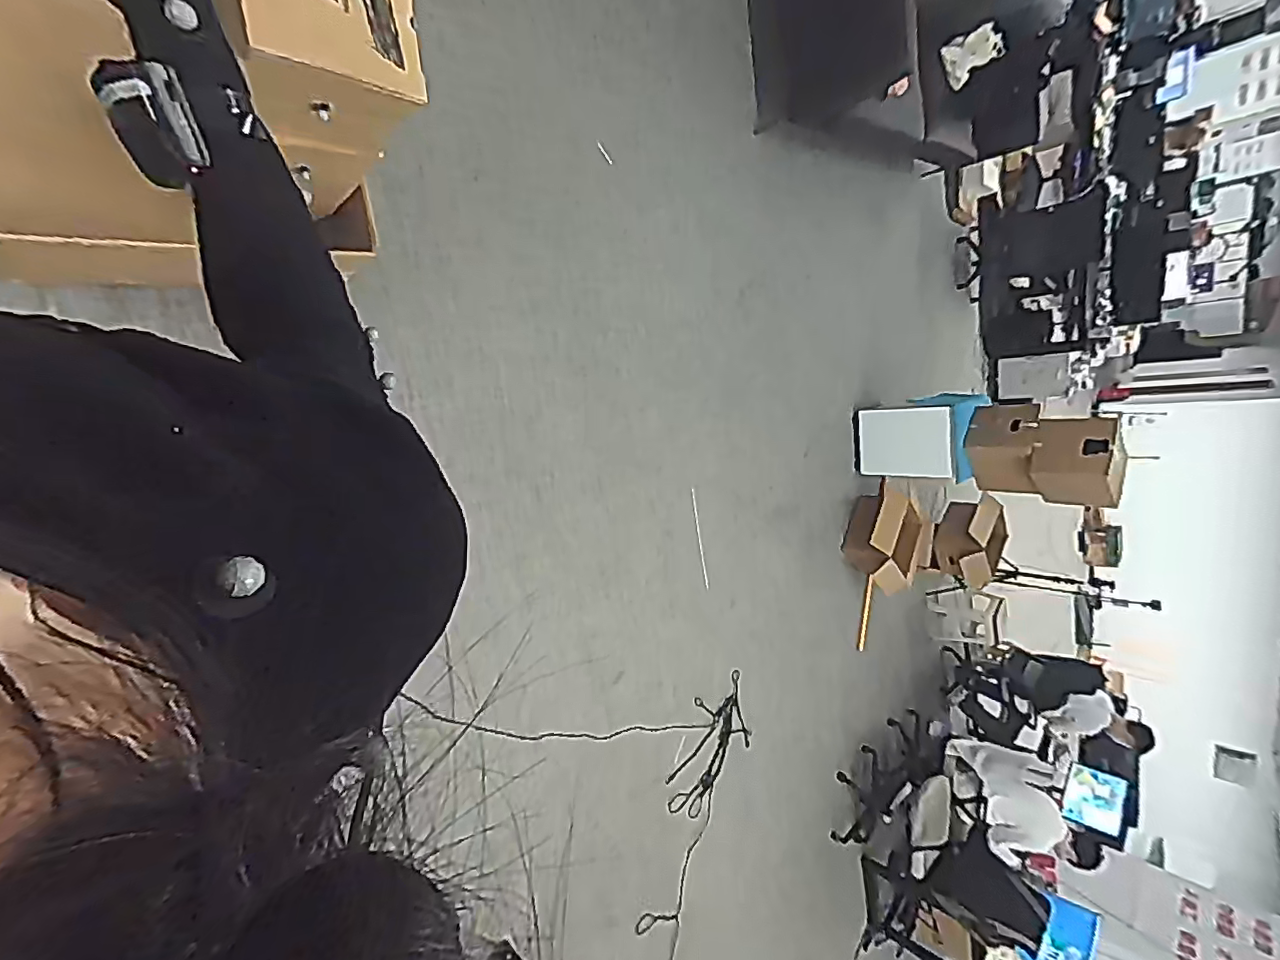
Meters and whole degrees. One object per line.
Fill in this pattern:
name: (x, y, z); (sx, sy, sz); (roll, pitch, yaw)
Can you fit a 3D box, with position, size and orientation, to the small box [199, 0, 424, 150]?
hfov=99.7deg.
small box: (-0.372, -0.504, 0.611); (0.179, 0.176, 0.168); (-13, 102, -42)
